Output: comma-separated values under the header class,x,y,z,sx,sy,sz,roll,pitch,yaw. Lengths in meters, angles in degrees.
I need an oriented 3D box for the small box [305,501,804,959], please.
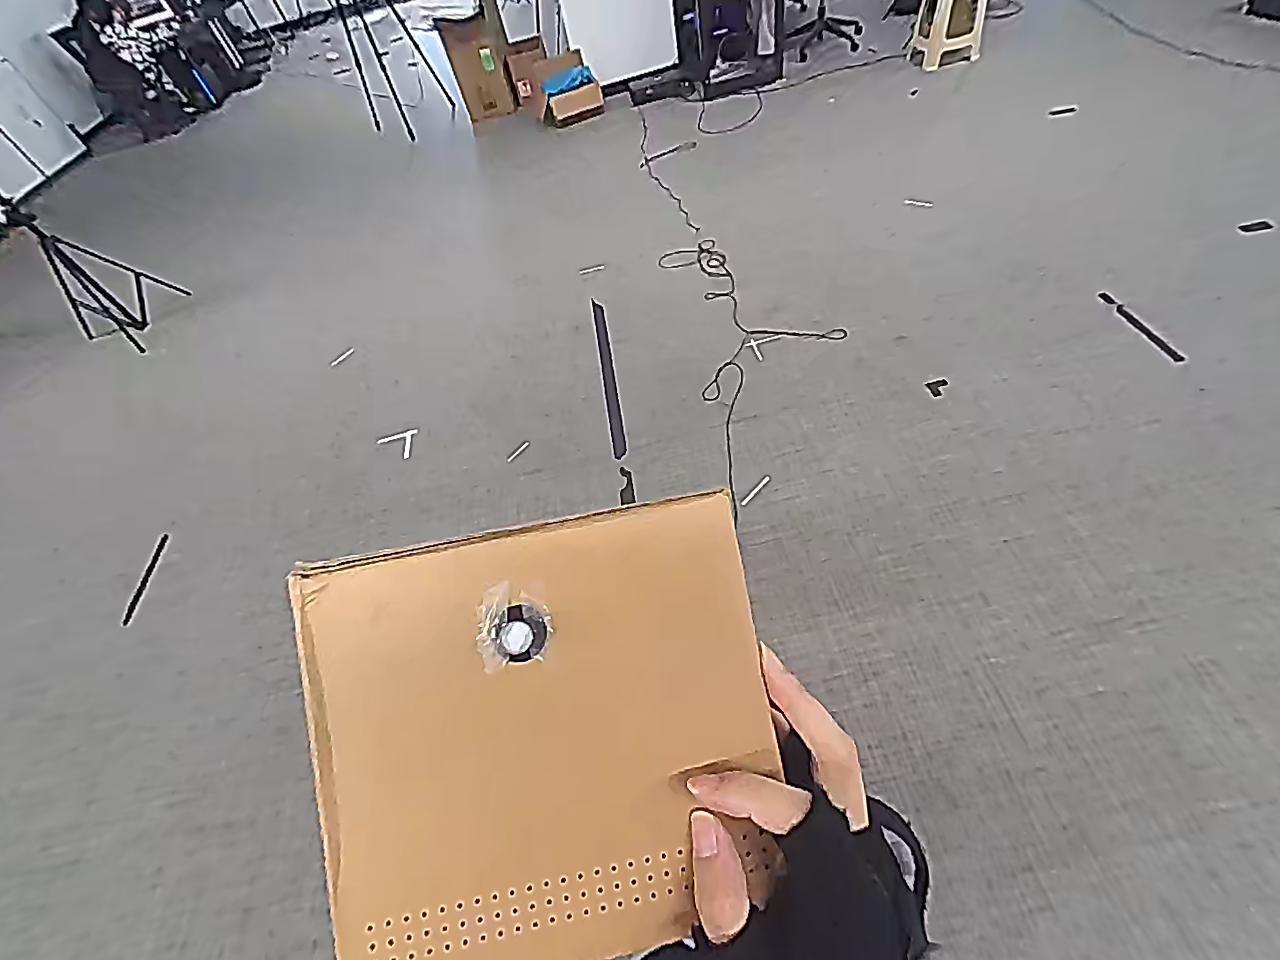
class,x,y,z,sx,sy,sz,roll,pitch,yaw
small box,-0.036,0.113,0.287,0.179,0.168,0.176,-10,86,-5
